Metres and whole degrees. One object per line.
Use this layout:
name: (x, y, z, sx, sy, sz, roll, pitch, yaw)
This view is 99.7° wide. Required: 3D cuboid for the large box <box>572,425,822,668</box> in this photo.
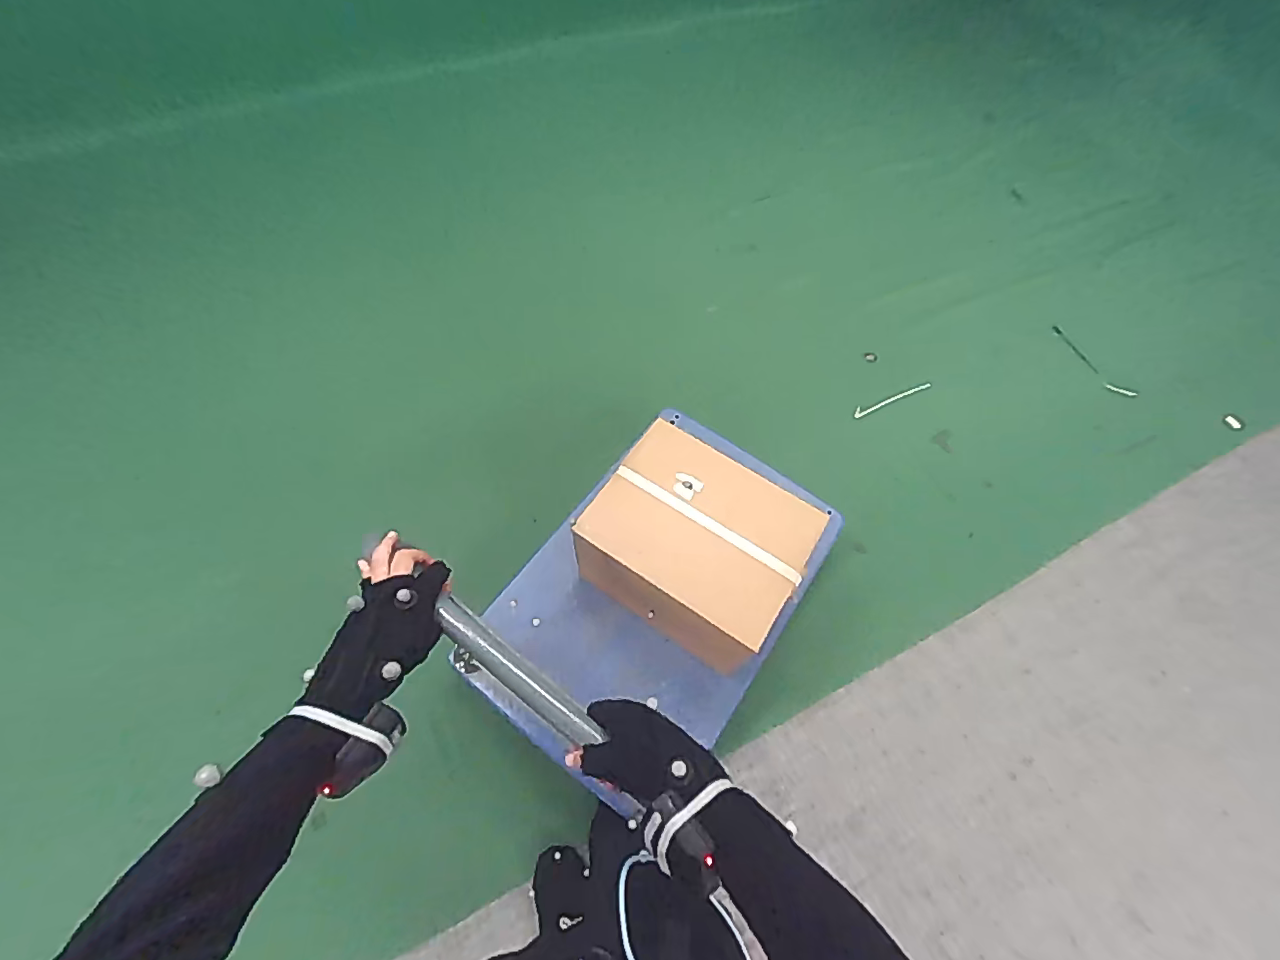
large box: (0.113, 0.155, 1.185, 0.408, 0.320, 0.320, 31, 65, 13)
